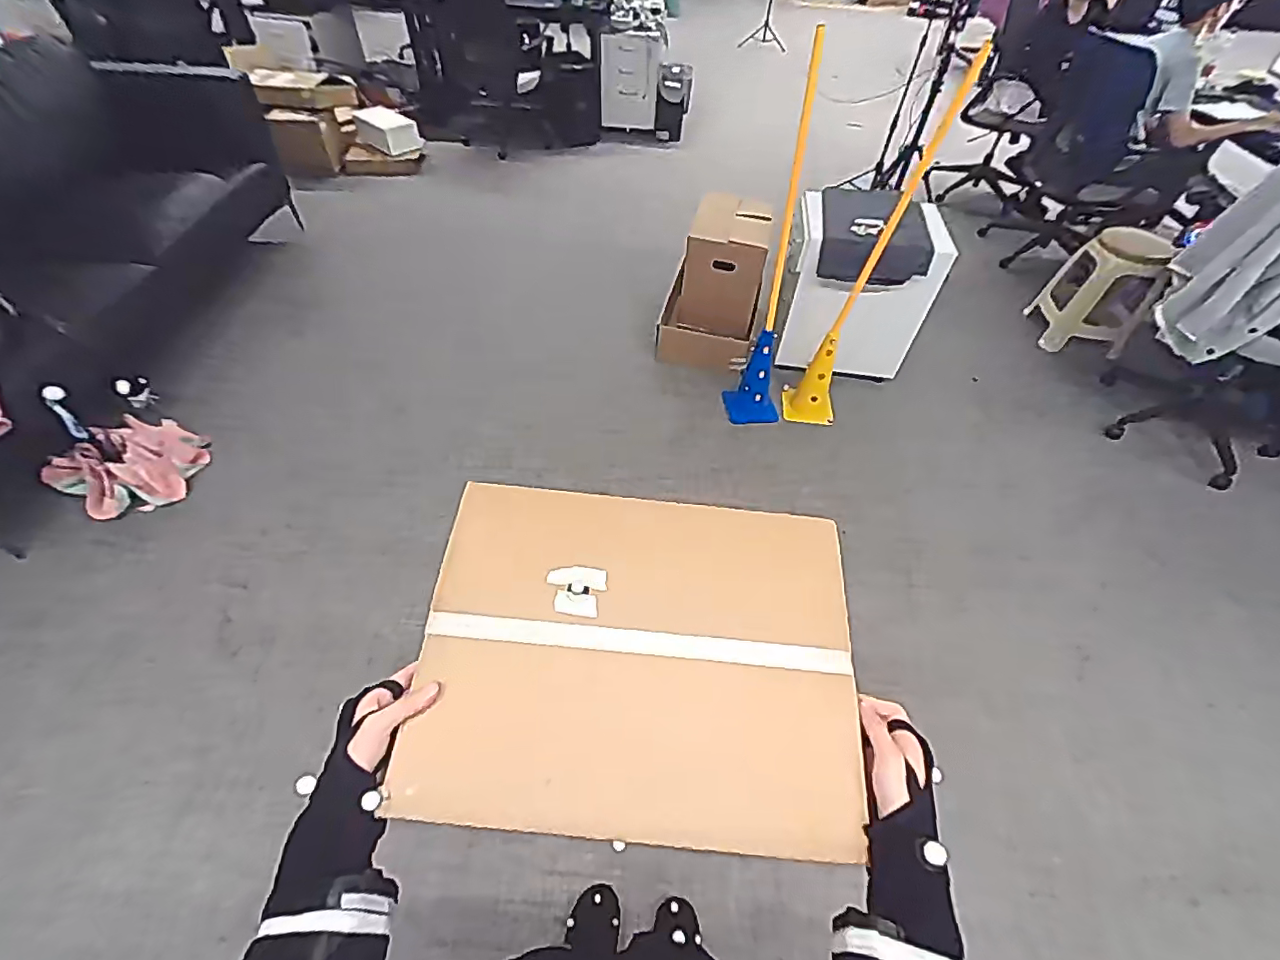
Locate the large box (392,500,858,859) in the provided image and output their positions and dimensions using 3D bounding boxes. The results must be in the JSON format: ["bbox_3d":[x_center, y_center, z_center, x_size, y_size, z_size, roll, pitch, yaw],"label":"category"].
[{"bbox_3d":[-0.005,0.242,0.657,0.408,0.320,0.320,5,59,1],"label":"large box"}]
